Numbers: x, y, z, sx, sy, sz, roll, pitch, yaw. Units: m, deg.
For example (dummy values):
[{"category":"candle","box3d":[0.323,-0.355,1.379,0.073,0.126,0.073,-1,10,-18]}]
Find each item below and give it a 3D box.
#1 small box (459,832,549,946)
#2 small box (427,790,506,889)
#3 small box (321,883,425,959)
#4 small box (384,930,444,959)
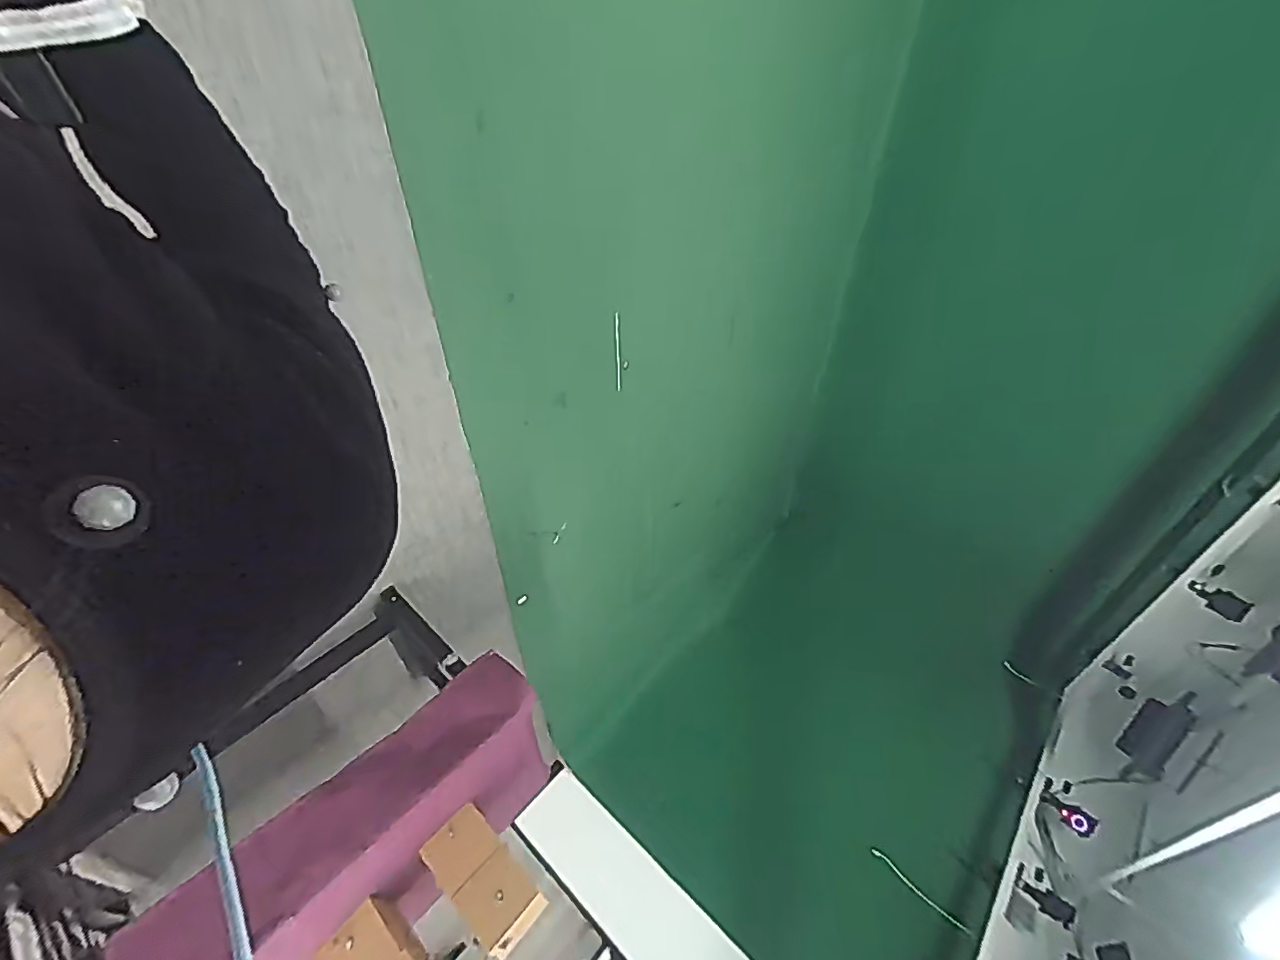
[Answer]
[{"category":"small box","box3d":[-0.385,1.144,1.517,0.179,0.176,0.168,-39,144,-31]},{"category":"small box","box3d":[-0.505,1.070,1.601,0.179,0.176,0.168,-38,144,-31]},{"category":"small box","box3d":[-0.708,1.227,1.449,0.168,0.176,0.179,-42,145,-27]},{"category":"small box","box3d":[-0.587,1.297,1.365,0.179,0.176,0.168,-41,146,-28]}]
